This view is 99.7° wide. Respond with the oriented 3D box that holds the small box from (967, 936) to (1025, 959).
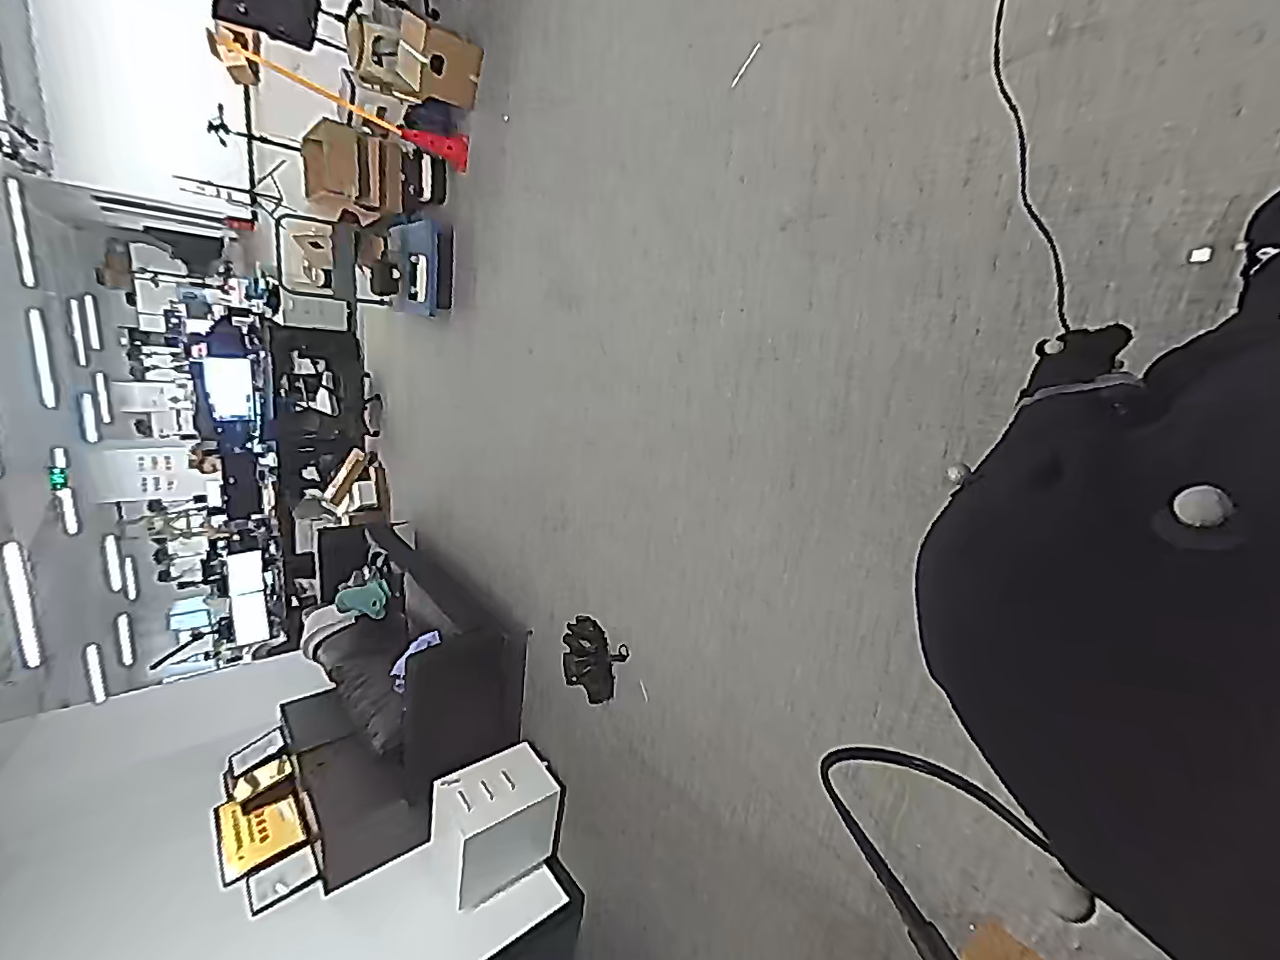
[{"bbox_3d":[0.881,1.268,1.314,0.179,0.176,0.168,25,113,44],"label":"small box"}]
